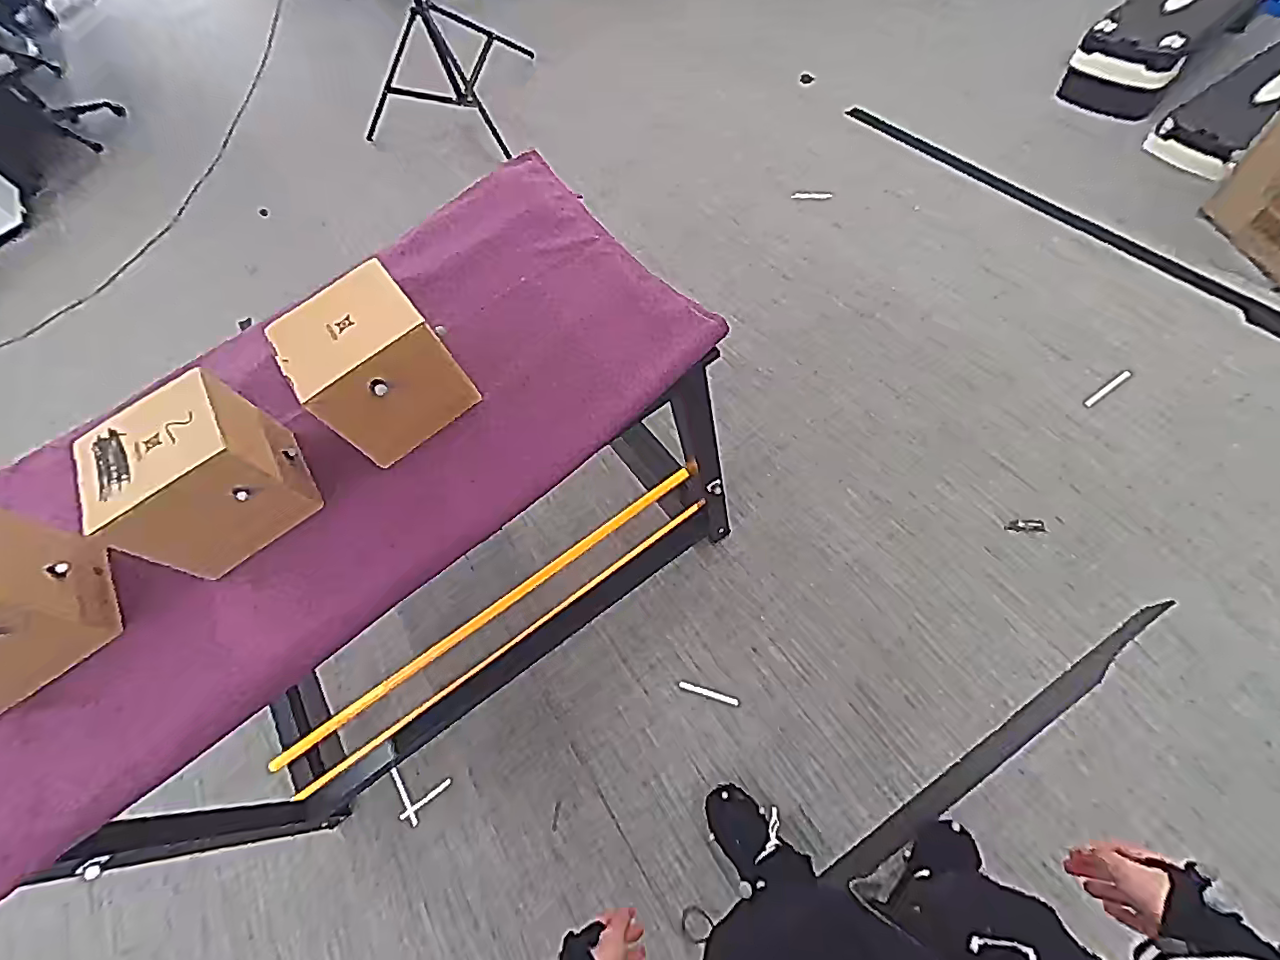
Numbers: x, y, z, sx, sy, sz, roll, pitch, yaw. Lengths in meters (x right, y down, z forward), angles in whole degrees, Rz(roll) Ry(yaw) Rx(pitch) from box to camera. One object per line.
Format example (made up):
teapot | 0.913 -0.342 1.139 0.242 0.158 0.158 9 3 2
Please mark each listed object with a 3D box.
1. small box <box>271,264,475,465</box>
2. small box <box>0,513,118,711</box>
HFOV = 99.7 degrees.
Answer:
small box | -0.358 -0.155 0.758 0.179 0.176 0.168 -38 62 -7
small box | -0.822 0.167 0.688 0.179 0.176 0.168 -37 62 -10
